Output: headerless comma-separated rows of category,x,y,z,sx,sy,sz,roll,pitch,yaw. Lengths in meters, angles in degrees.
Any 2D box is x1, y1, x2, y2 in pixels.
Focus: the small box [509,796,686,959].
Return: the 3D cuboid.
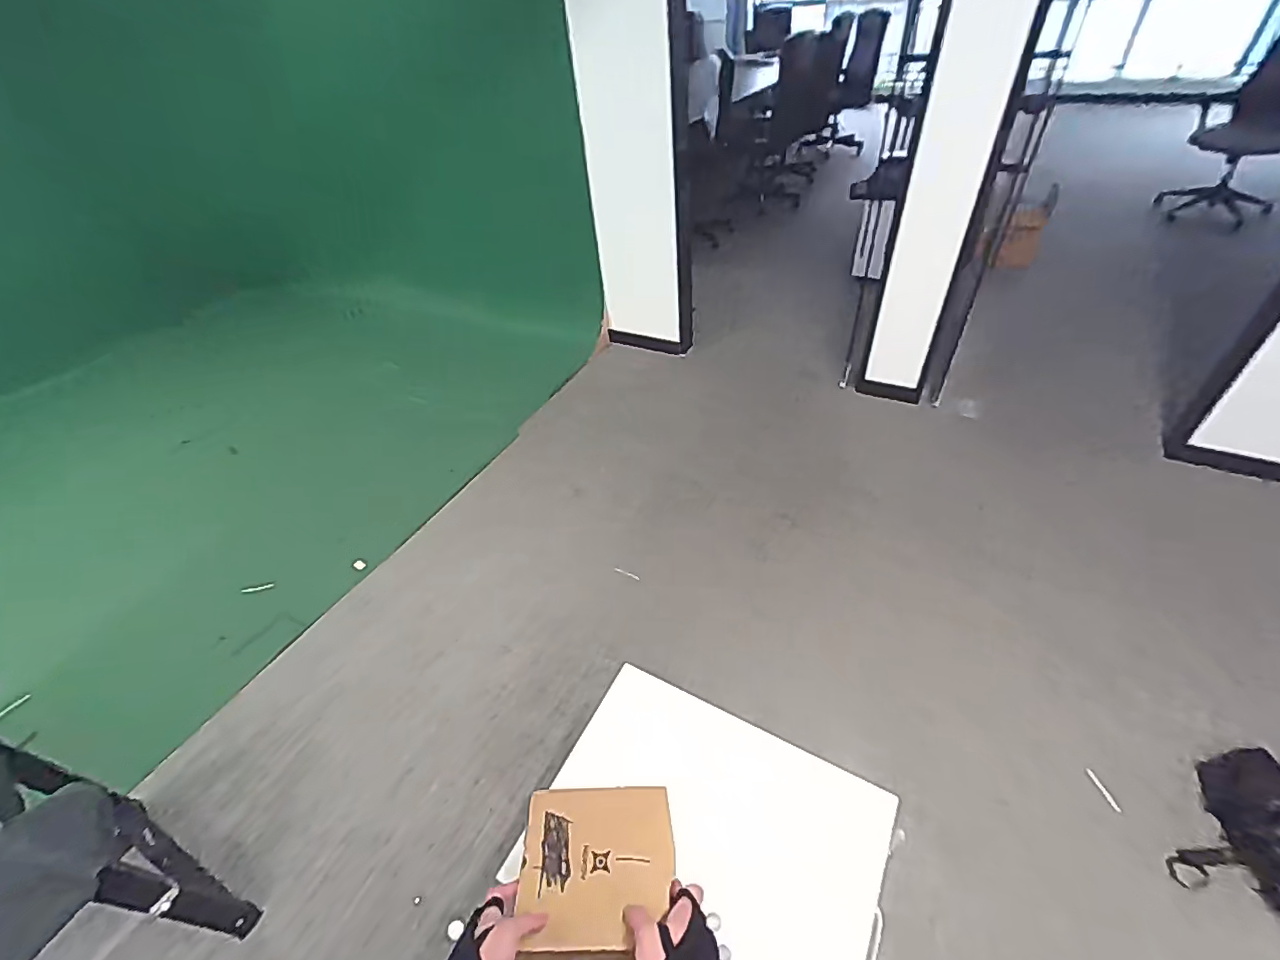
small box,-0.039,0.505,0.637,0.179,0.176,0.168,-4,32,1
